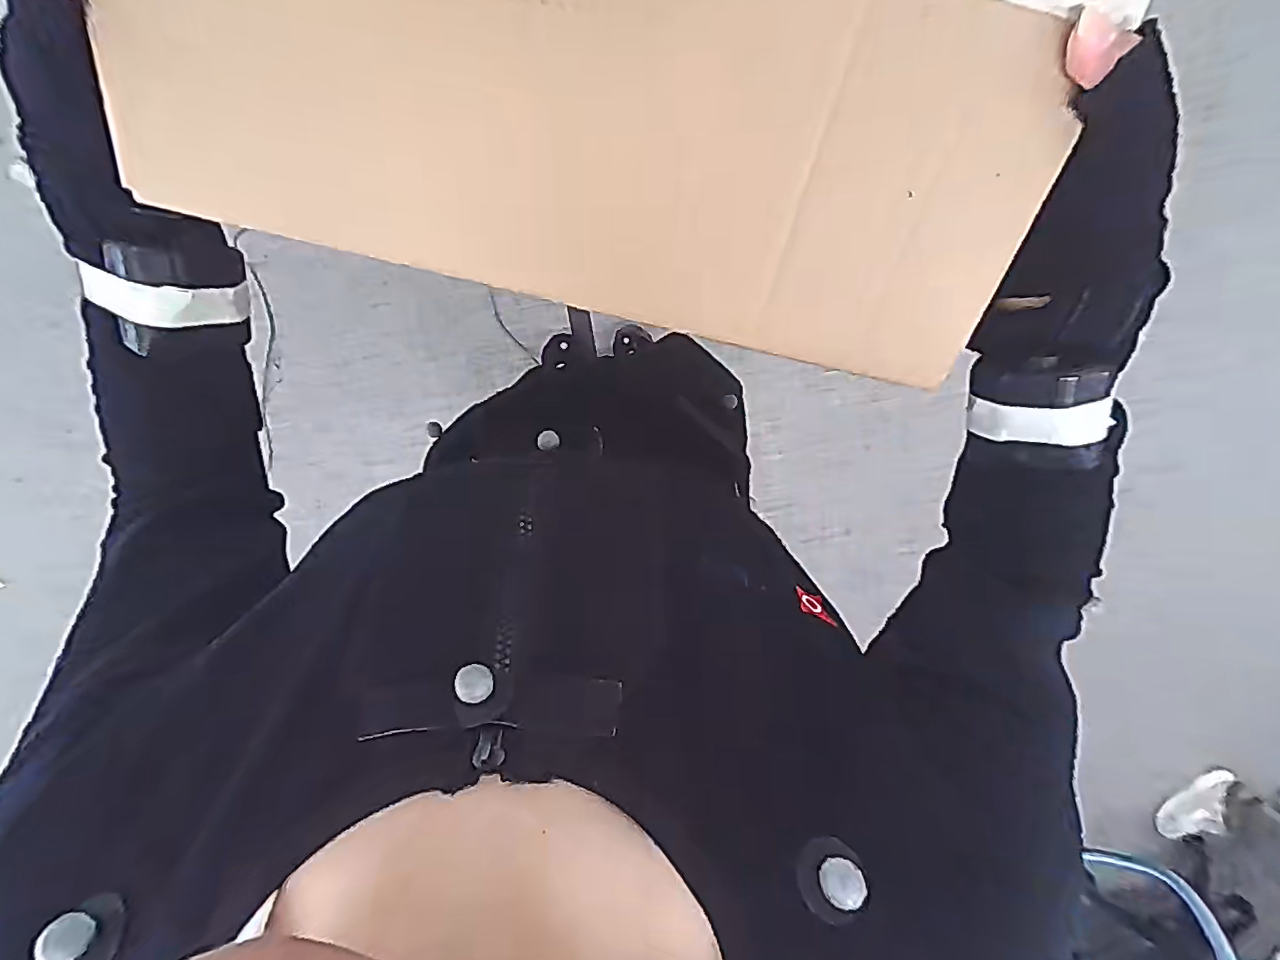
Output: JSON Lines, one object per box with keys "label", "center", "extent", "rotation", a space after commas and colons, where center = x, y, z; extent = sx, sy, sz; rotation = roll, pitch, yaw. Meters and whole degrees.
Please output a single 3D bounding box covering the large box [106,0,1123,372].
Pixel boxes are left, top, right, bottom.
{"label": "large box", "center": [-0.003, -0.296, 0.326], "extent": [0.408, 0.320, 0.320], "rotation": [12, 121, -4]}
